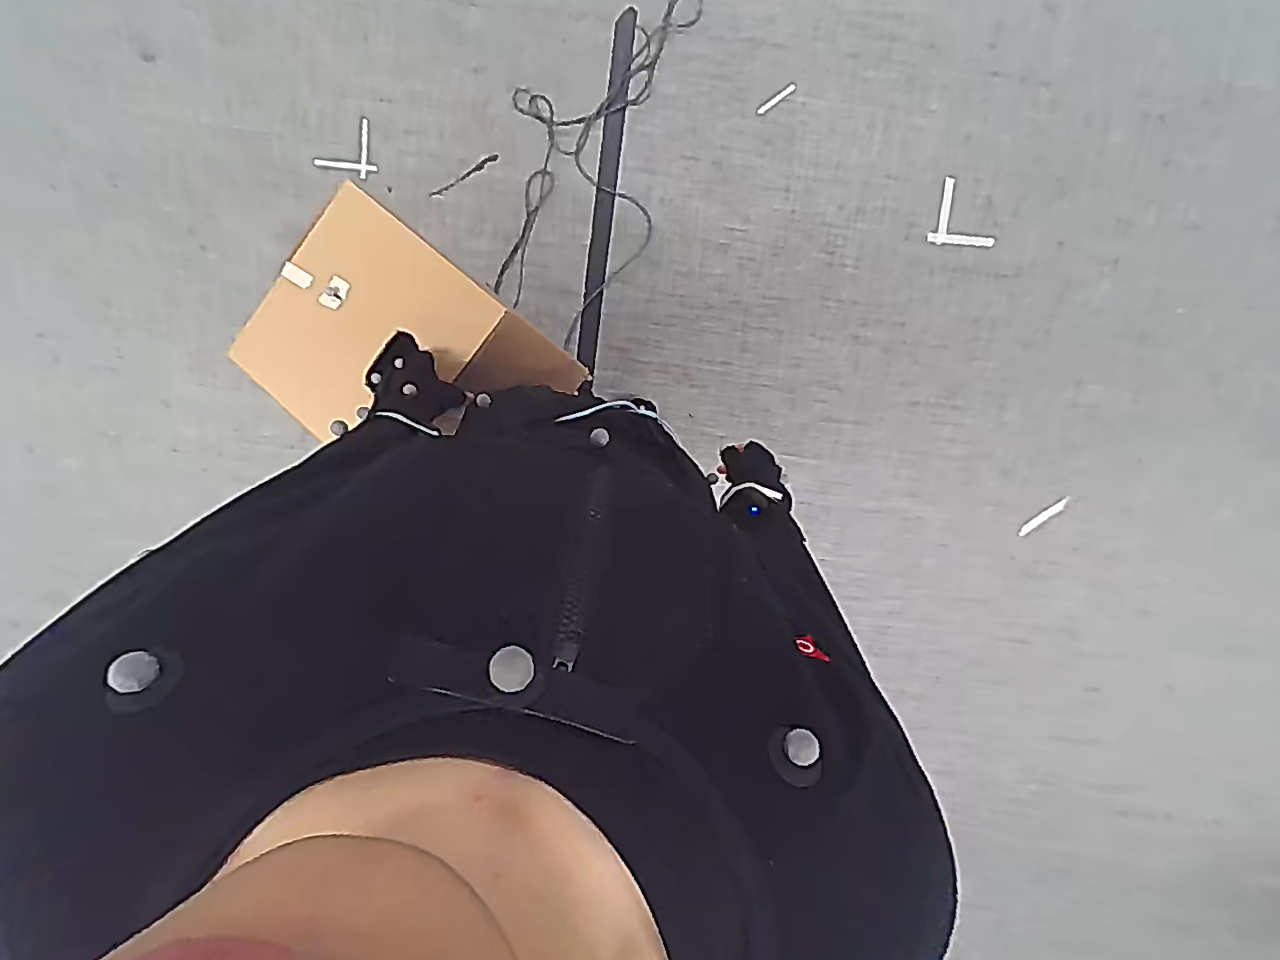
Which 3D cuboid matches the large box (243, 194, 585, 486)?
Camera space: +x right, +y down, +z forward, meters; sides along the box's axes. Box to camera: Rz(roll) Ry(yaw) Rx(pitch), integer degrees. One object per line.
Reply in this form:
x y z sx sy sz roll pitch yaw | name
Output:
-0.356 -0.207 0.955 0.320 0.408 0.320 41 97 8 | large box
